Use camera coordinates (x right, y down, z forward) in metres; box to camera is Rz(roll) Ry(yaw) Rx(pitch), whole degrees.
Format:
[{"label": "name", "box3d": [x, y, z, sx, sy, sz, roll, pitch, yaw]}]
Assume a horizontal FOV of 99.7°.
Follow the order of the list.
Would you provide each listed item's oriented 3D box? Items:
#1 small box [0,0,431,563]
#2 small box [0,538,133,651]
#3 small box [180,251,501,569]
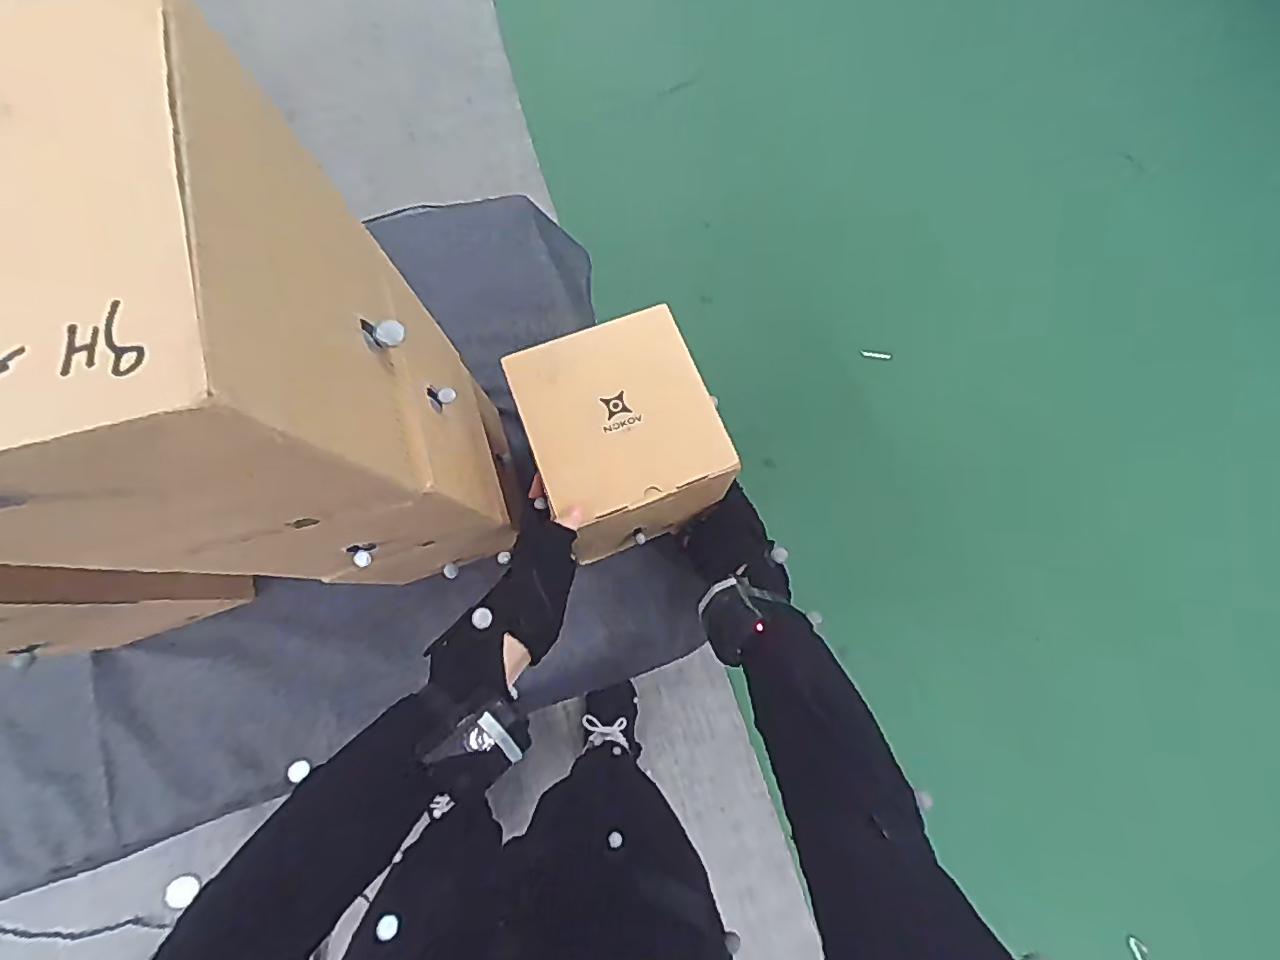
[{"label": "small box", "box3d": [-0.220, -0.069, 0.257, 0.168, 0.176, 0.179, -14, 77, -3]}, {"label": "small box", "box3d": [-0.531, 0.040, 0.400, 0.179, 0.176, 0.168, -21, 78, -5]}, {"label": "small box", "box3d": [-0.220, -0.035, 0.418, 0.168, 0.176, 0.179, -16, 78, -4]}]
